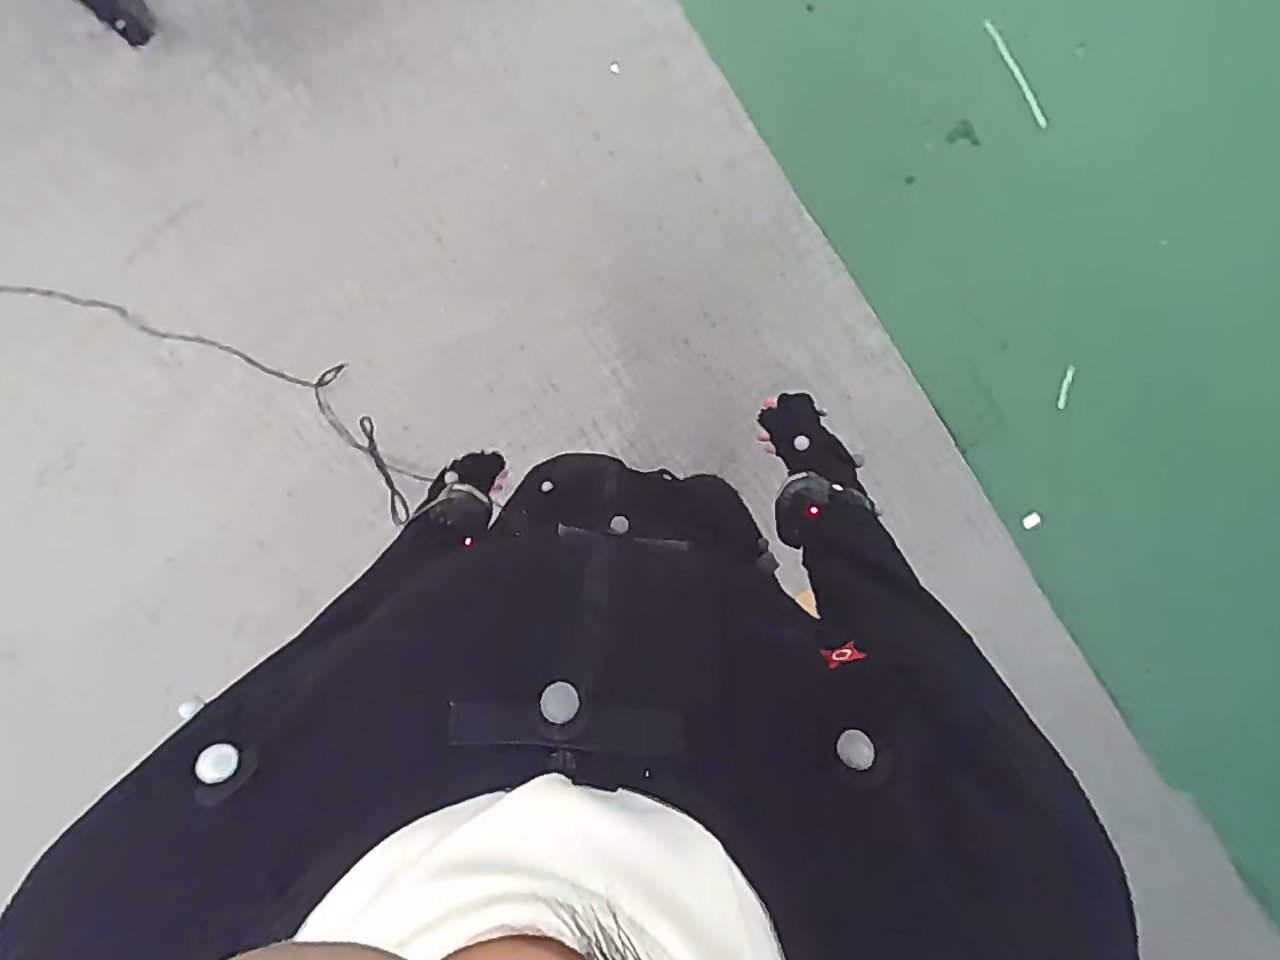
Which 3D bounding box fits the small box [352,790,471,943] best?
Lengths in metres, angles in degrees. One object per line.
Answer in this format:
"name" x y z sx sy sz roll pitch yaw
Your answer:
"small box" -0.433 0.739 1.050 0.168 0.176 0.179 -3 91 -4
